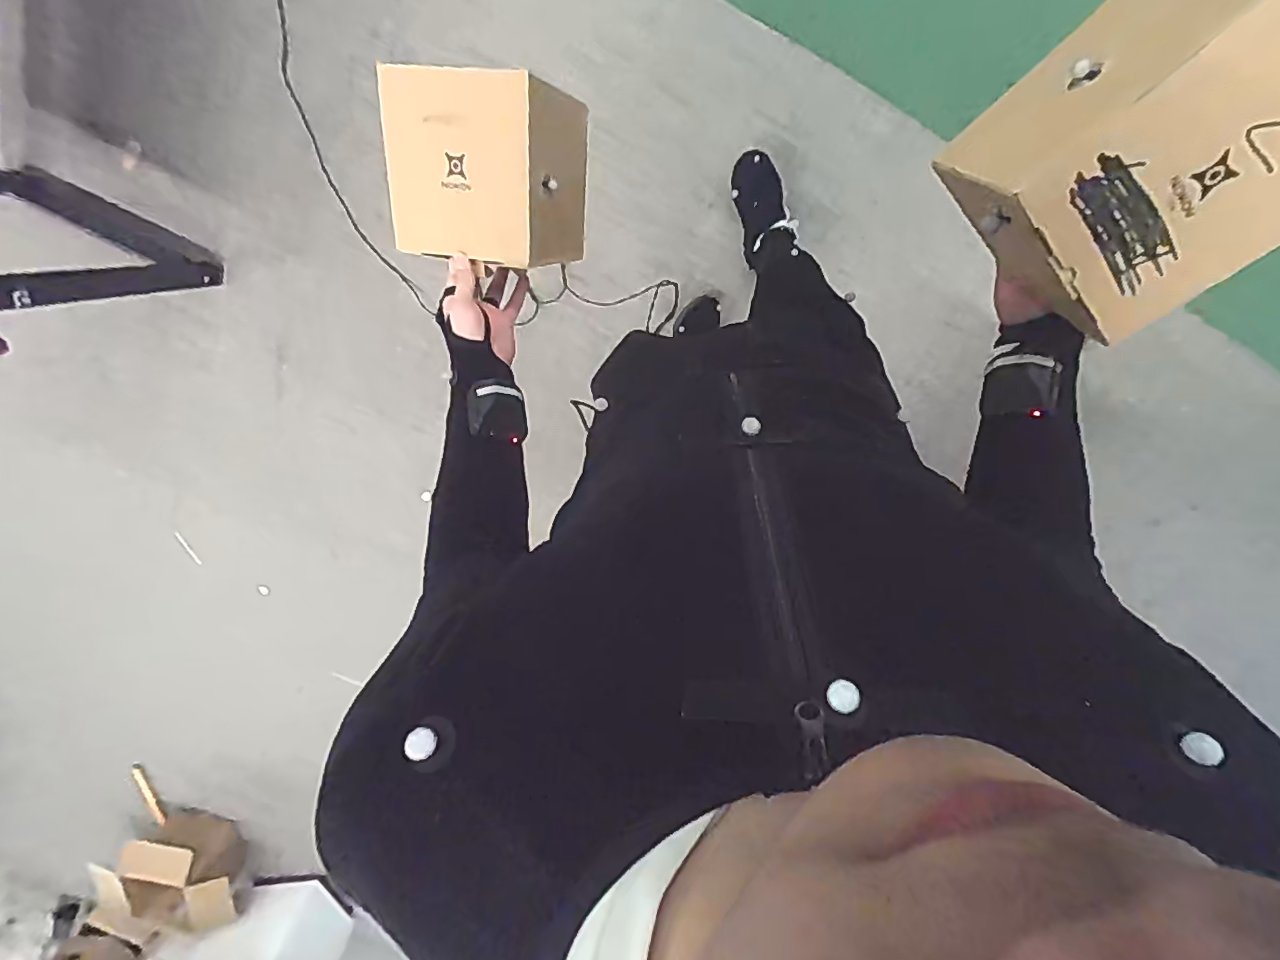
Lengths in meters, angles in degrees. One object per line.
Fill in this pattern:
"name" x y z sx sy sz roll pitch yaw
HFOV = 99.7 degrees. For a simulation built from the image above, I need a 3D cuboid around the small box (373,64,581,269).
"small box" -0.173 -0.354 0.629 0.168 0.176 0.179 11 117 11
